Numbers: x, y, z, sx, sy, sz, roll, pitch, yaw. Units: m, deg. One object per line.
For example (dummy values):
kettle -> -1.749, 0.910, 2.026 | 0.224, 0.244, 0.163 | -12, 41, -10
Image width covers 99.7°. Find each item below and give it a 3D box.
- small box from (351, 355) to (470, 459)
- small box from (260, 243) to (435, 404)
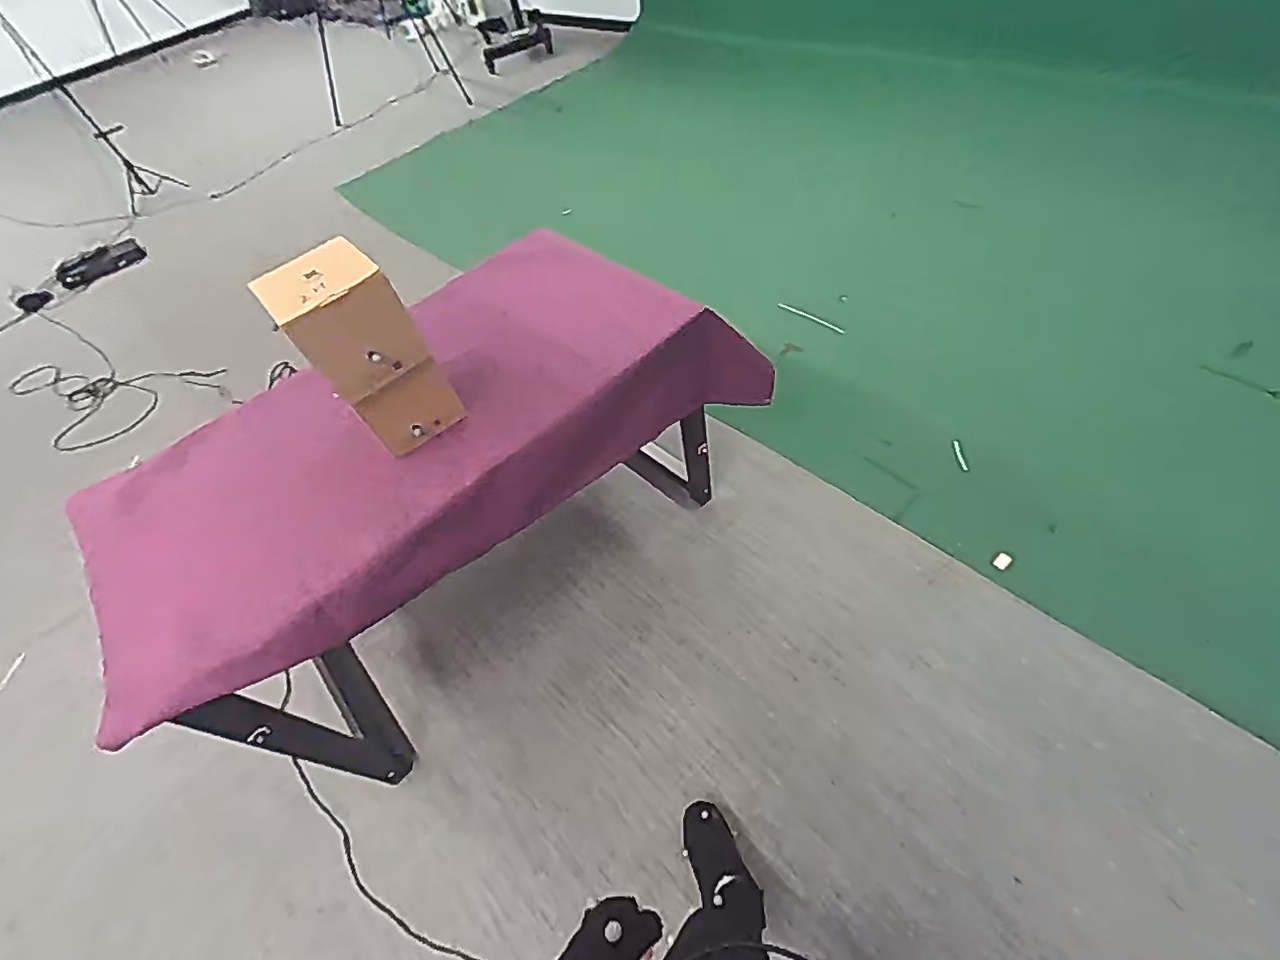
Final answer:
small box -> -0.462, -0.172, 1.043 | 0.168, 0.176, 0.179 | -37, 56, -16
small box -> -0.481, -0.259, 0.904 | 0.168, 0.176, 0.179 | -39, 56, -17
